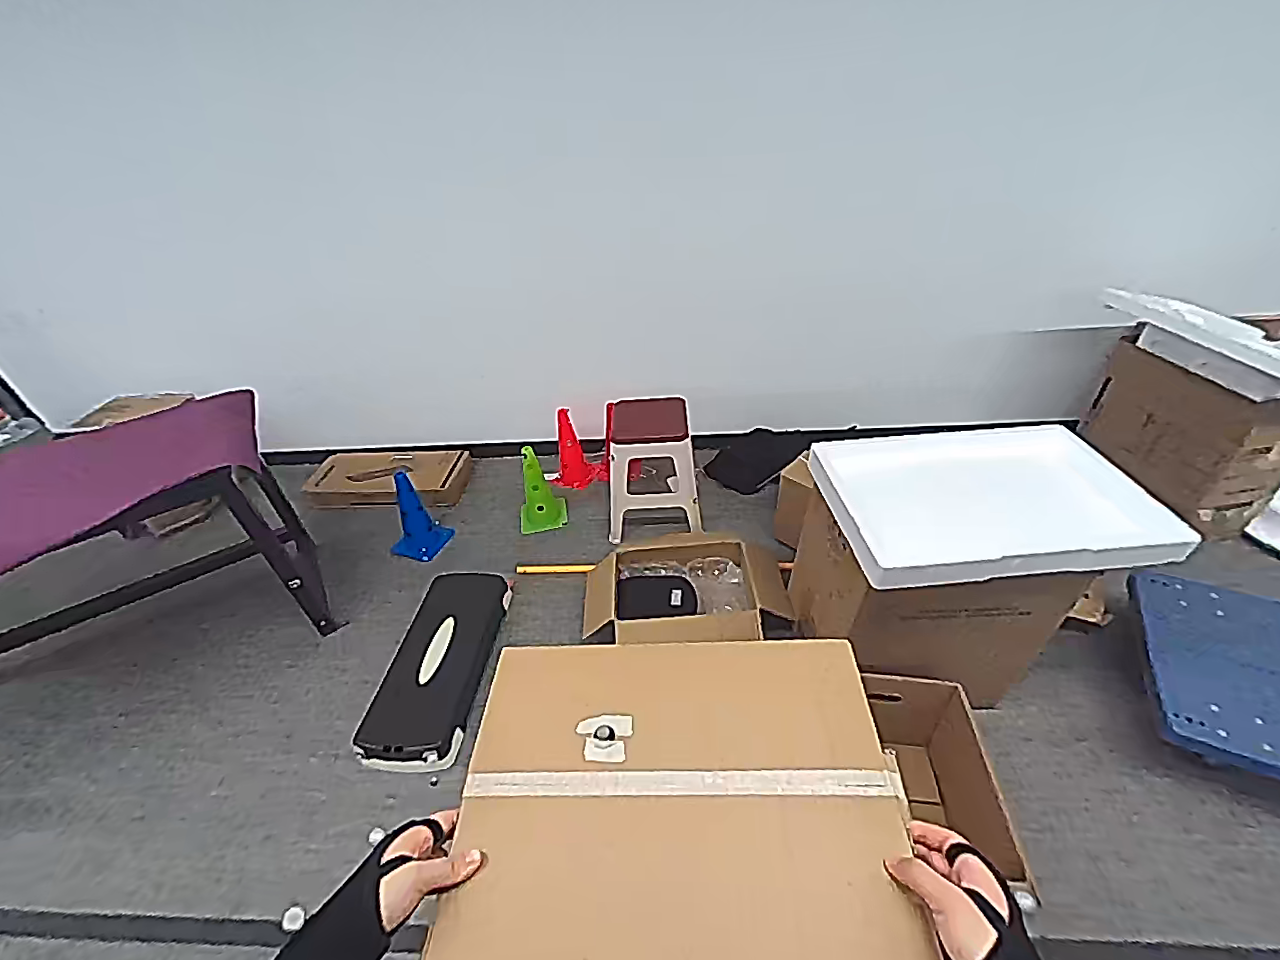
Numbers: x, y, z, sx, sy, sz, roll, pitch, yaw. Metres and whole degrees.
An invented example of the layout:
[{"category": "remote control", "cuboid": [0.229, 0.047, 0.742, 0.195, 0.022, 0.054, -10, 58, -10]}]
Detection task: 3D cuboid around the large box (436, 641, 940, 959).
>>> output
[{"category": "large box", "cuboid": [0.053, 0.412, 0.611, 0.408, 0.320, 0.320, -5, 38, 7]}]
